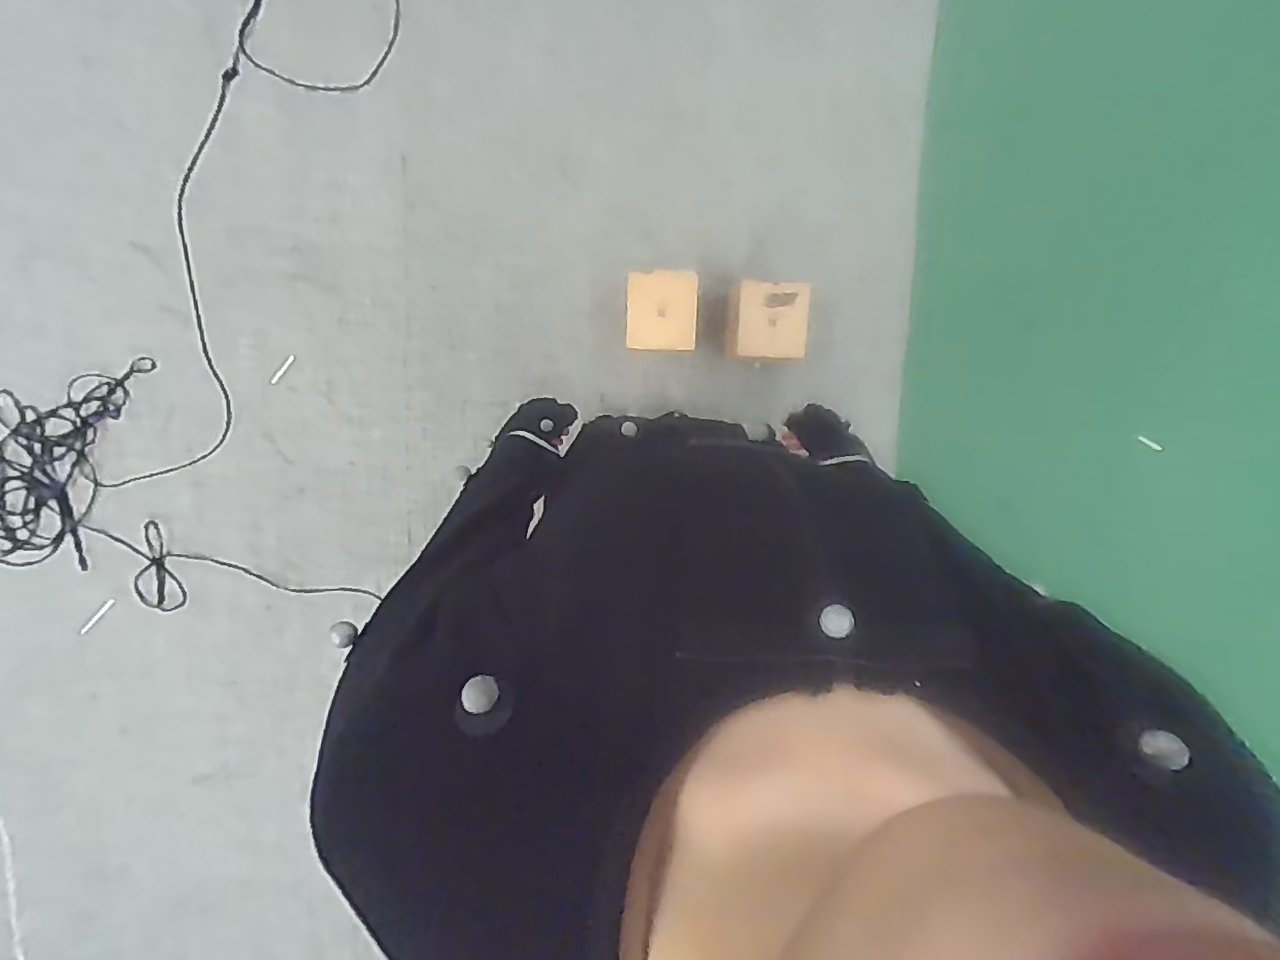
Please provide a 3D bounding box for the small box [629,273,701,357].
[{"bbox_3d":[0.058,-0.403,1.348,0.168,0.176,0.179,1,96,-1],"label":"small box"}]

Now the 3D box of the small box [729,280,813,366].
[{"bbox_3d":[0.320,-0.386,1.352,0.168,0.176,0.179,2,97,-1],"label":"small box"}]
